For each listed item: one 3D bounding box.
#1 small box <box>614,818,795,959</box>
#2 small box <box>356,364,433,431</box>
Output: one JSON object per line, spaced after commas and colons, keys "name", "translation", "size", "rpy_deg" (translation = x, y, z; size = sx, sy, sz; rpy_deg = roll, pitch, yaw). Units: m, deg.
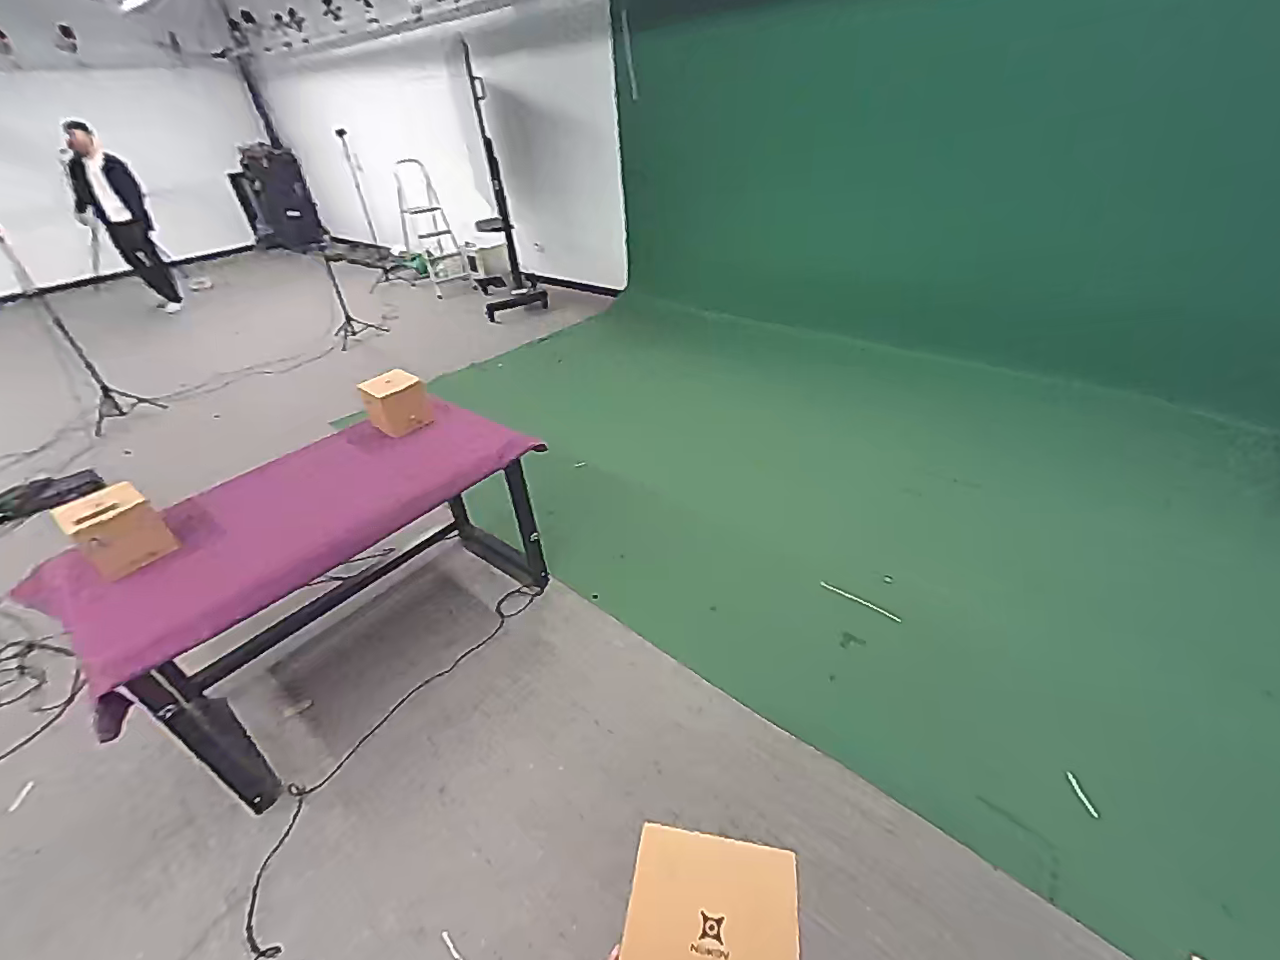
{"name": "small box", "translation": [0.062, 0.493, 0.555], "size": [0.168, 0.176, 0.179], "rpy_deg": [6, 34, 9]}
{"name": "small box", "translation": [-0.887, -0.297, 1.958], "size": [0.179, 0.176, 0.168], "rpy_deg": [26, 48, 34]}
